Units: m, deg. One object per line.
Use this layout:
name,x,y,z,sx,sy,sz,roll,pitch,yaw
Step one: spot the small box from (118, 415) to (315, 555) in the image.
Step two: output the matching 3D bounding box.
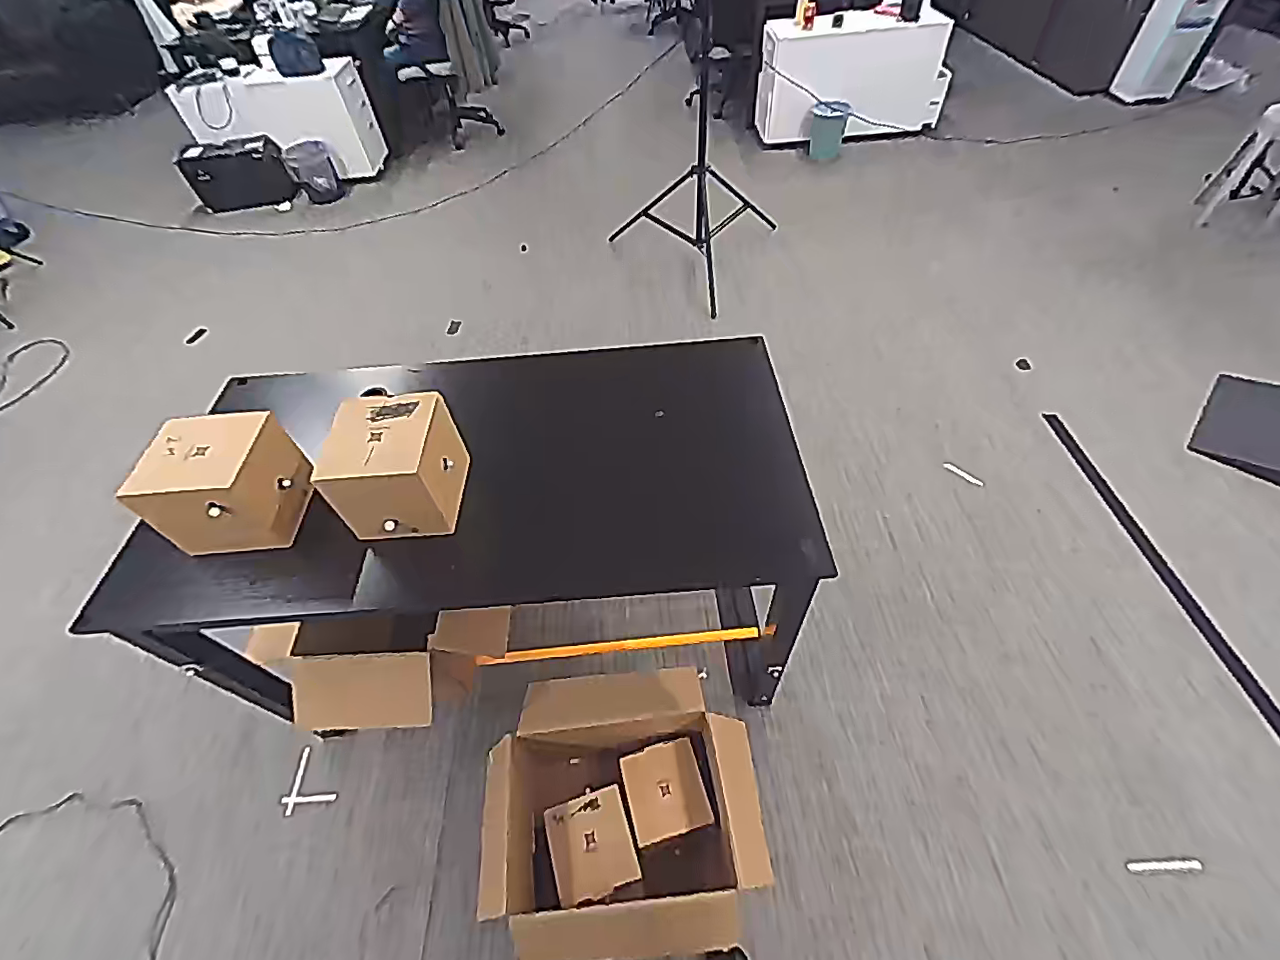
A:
small box,-0.692,0.012,0.914,0.179,0.176,0.168,-5,50,0

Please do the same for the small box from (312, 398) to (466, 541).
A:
small box,-0.408,-0.016,0.917,0.168,0.176,0.179,-4,51,1
